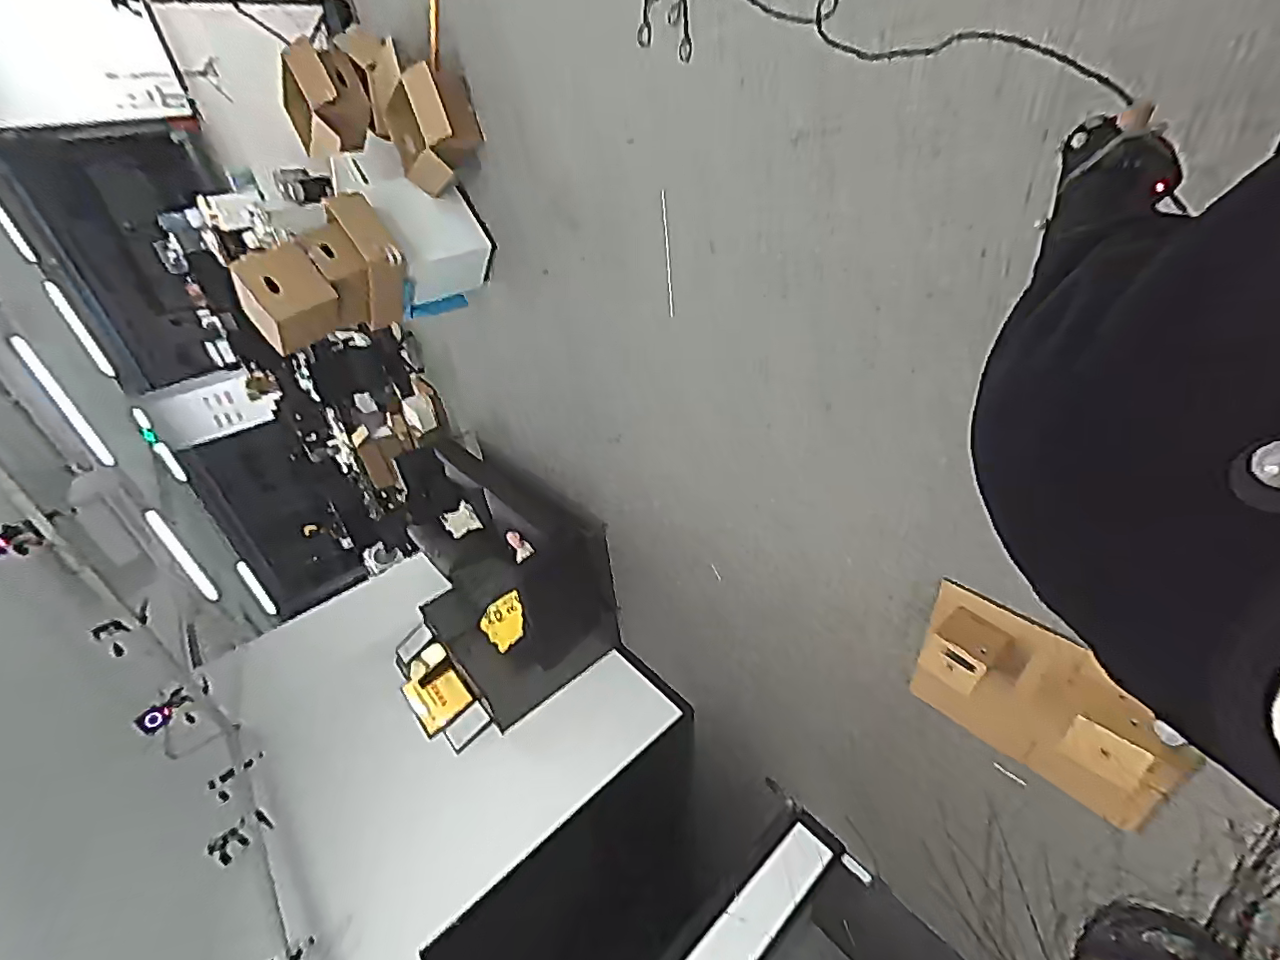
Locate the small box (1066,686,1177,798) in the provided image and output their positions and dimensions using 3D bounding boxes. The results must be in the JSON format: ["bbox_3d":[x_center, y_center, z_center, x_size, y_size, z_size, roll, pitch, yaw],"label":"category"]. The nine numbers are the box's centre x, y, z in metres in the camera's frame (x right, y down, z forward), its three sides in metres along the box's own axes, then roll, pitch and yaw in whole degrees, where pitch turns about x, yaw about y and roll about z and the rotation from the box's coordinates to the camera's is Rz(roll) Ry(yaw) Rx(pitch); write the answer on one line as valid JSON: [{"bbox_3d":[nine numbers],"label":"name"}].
[{"bbox_3d":[1.301,0.698,1.460,0.168,0.176,0.179,28,138,43],"label":"small box"}]
